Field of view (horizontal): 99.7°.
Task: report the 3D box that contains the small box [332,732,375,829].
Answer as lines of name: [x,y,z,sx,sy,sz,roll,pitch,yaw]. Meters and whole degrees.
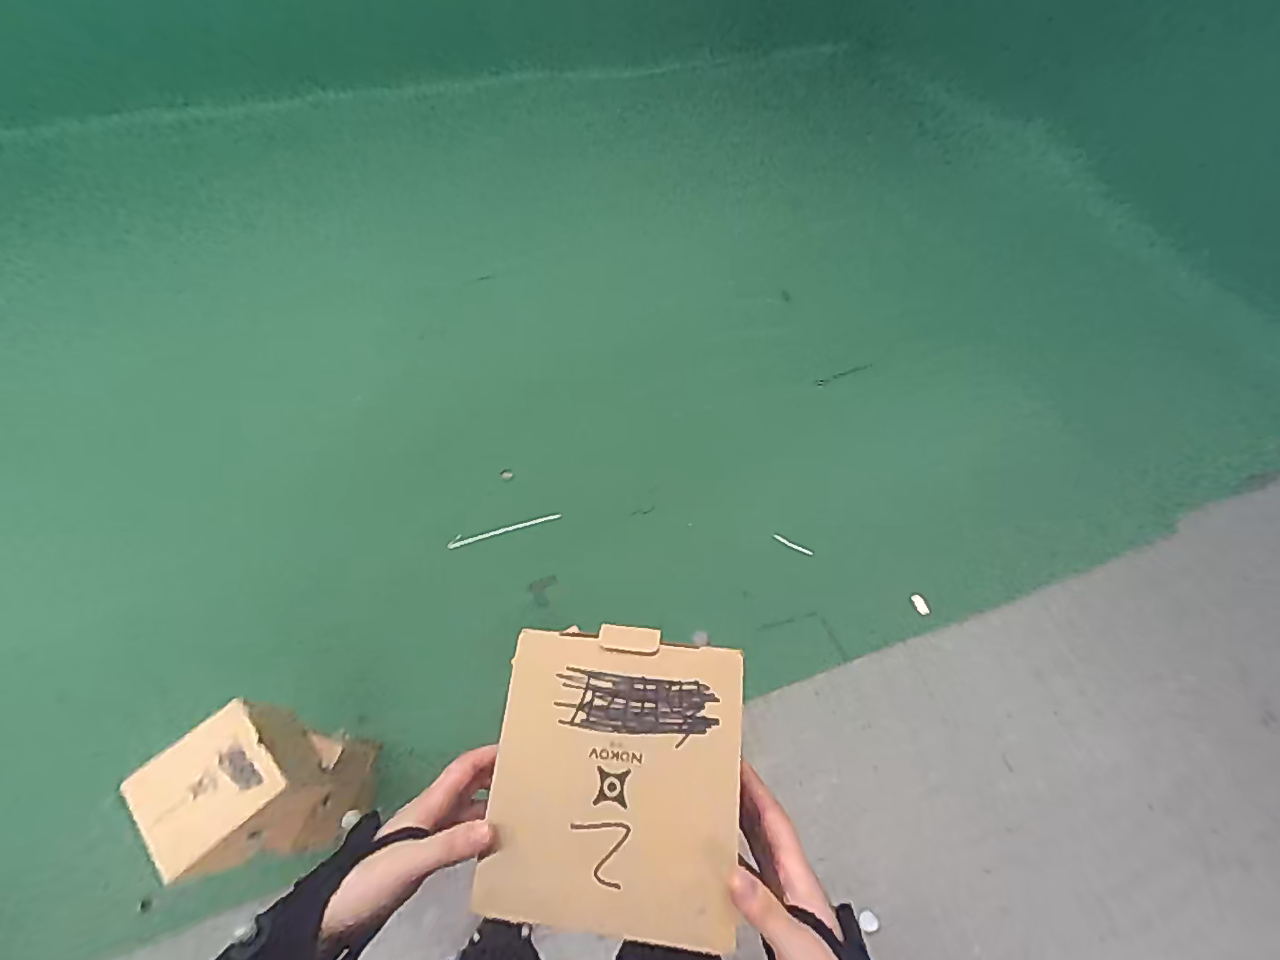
small box: [-0.676,0.631,1.130,0.168,0.176,0.179,0,60,-6]

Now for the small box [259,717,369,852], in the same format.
small box: [-0.634,0.549,0.993,0.168,0.176,0.179,18,60,4]

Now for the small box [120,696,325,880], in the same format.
small box: [-0.632,0.471,0.848,0.179,0.176,0.168,-38,71,-21]

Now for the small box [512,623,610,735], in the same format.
small box: [-0.182,0.466,1.257,0.168,0.176,0.179,-24,64,-17]
